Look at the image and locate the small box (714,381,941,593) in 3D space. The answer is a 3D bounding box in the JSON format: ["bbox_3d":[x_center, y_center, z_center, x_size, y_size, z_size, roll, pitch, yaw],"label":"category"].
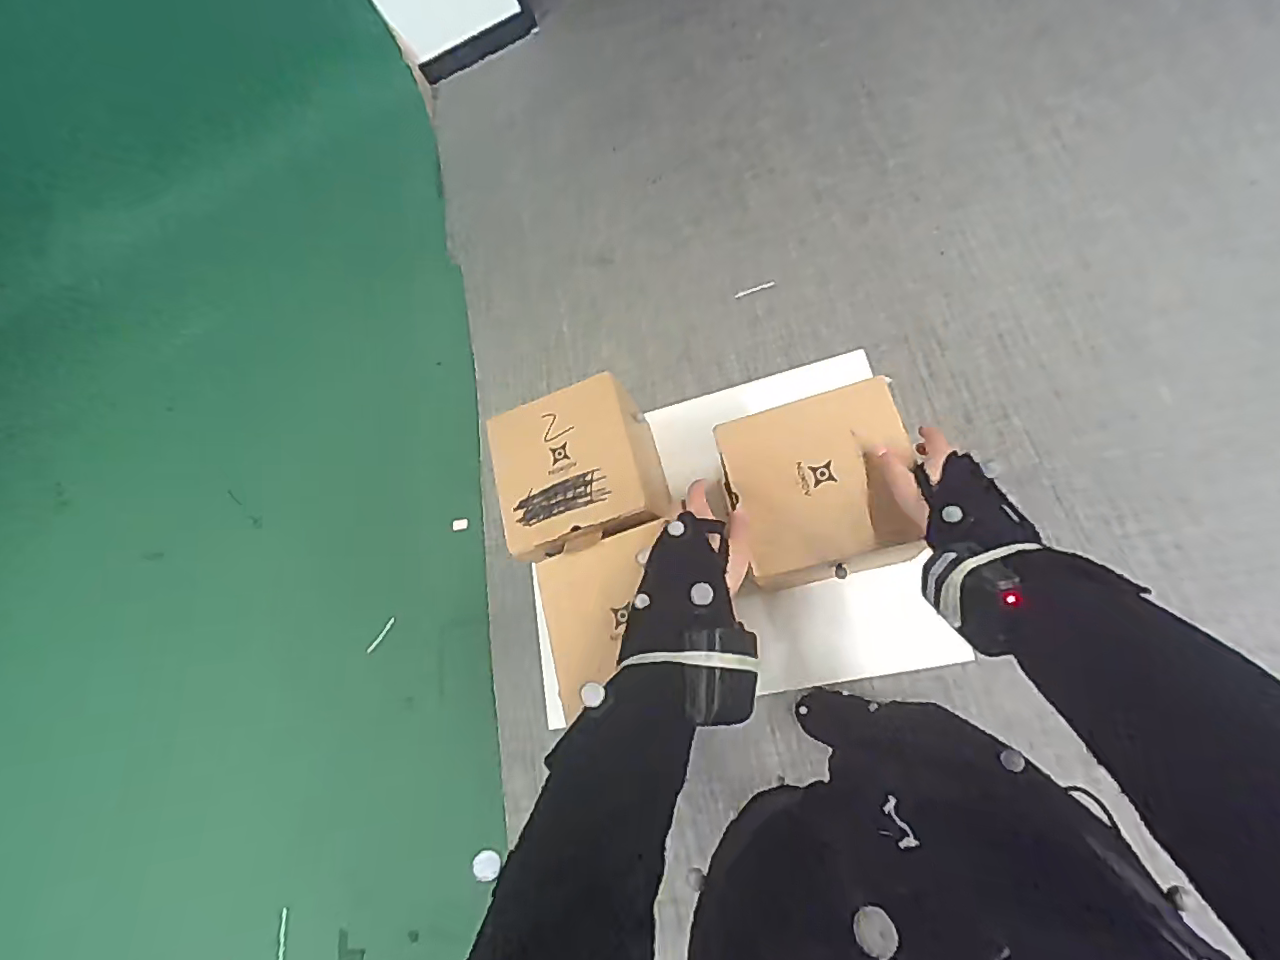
[{"bbox_3d":[0.195,0.022,0.593,0.179,0.176,0.168,-16,70,12],"label":"small box"}]
